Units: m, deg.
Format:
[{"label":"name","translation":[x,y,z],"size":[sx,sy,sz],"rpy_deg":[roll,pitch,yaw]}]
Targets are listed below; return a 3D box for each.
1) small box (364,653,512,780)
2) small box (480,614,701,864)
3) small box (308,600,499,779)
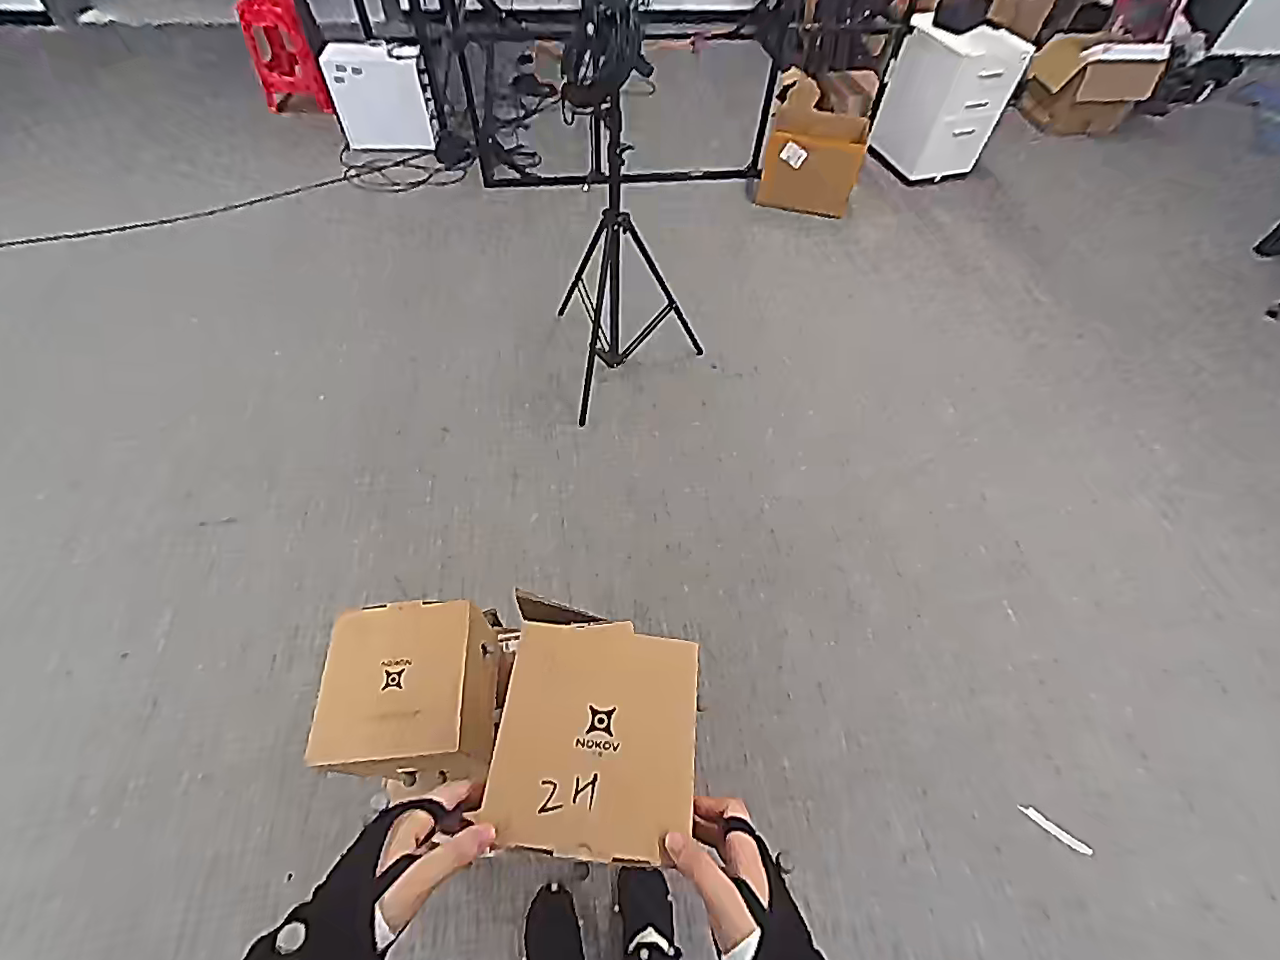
[{"label":"small box","translation":[-0.295,0.354,0.829],"size":[0.168,0.176,0.179],"rpy_deg":[-4,58,-4]},{"label":"small box","translation":[-0.039,0.251,0.519],"size":[0.168,0.176,0.179],"rpy_deg":[7,54,0]},{"label":"small box","translation":[-0.281,0.270,0.689],"size":[0.168,0.176,0.179],"rpy_deg":[-5,58,-3]}]
